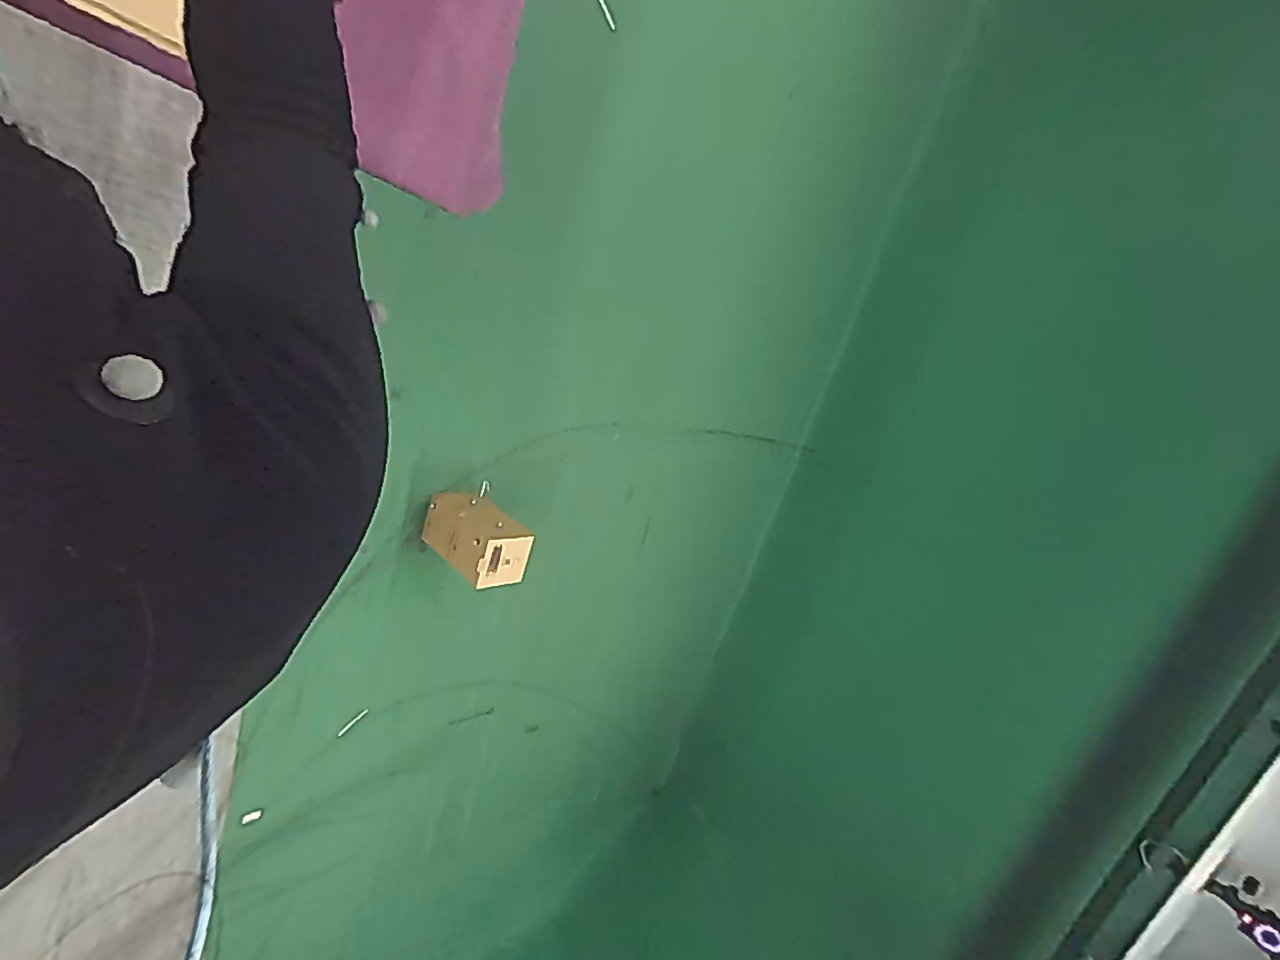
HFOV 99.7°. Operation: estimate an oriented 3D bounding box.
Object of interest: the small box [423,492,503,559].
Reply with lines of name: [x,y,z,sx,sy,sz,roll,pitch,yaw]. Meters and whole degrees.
small box: [-0.593,0.146,1.800,0.179,0.176,0.168,2,112,-52]
